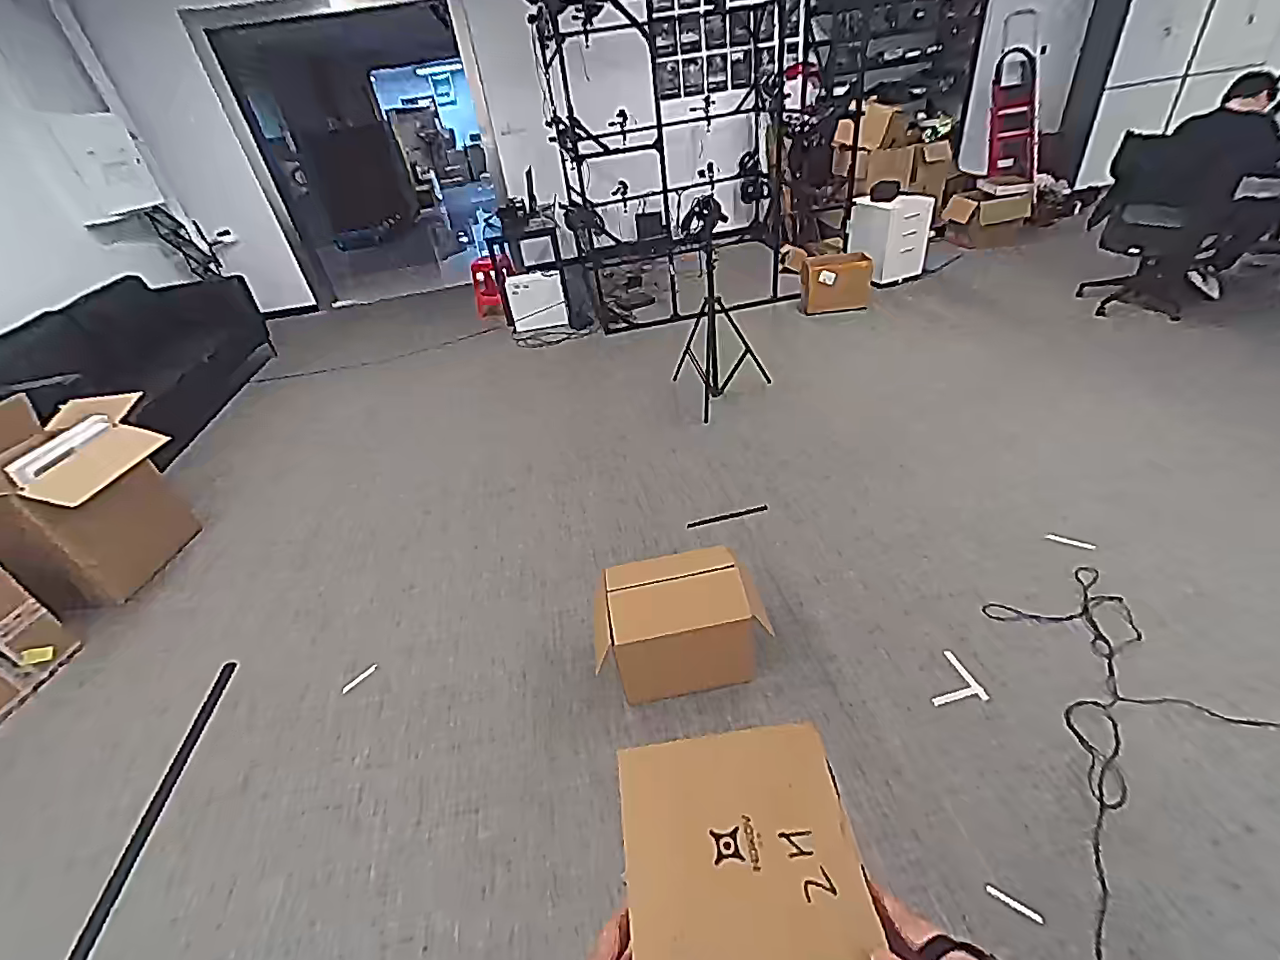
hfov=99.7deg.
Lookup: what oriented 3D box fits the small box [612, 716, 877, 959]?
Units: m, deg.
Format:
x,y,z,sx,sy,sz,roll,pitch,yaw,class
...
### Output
x,y,z,sx,sy,sz,roll,pitch,yaw,class
0.077,0.332,0.475,0.179,0.176,0.168,-8,45,0,small box
